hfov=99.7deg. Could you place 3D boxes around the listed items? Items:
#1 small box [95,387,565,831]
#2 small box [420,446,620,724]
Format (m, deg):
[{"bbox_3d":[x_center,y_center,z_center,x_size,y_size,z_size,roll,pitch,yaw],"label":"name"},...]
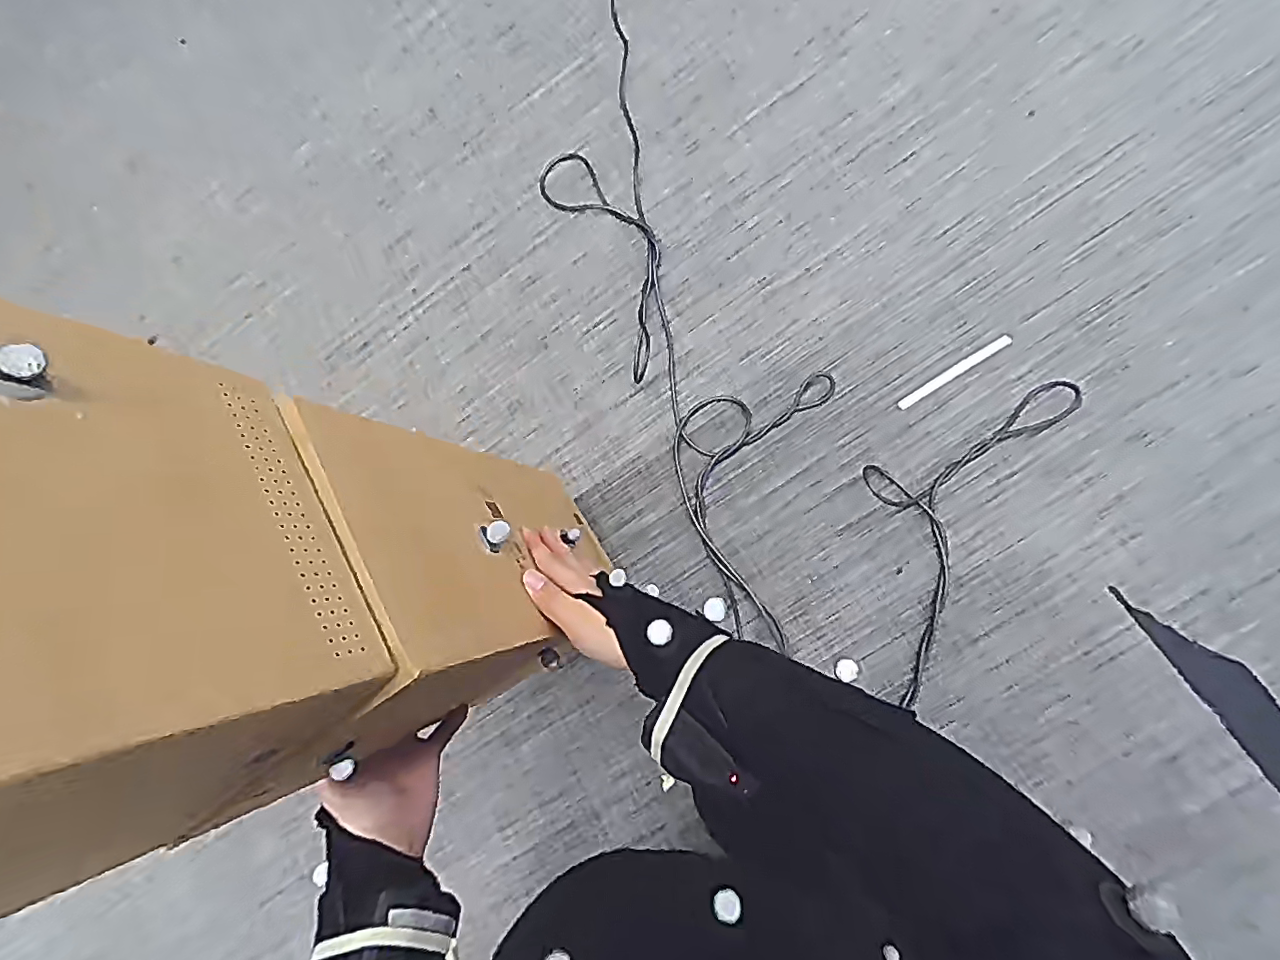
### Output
[{"bbox_3d":[-0.181,0.074,0.351,0.179,0.176,0.168,-35,74,9],"label":"small box"},{"bbox_3d":[-0.136,0.094,0.508,0.179,0.176,0.168,-36,73,10],"label":"small box"}]
